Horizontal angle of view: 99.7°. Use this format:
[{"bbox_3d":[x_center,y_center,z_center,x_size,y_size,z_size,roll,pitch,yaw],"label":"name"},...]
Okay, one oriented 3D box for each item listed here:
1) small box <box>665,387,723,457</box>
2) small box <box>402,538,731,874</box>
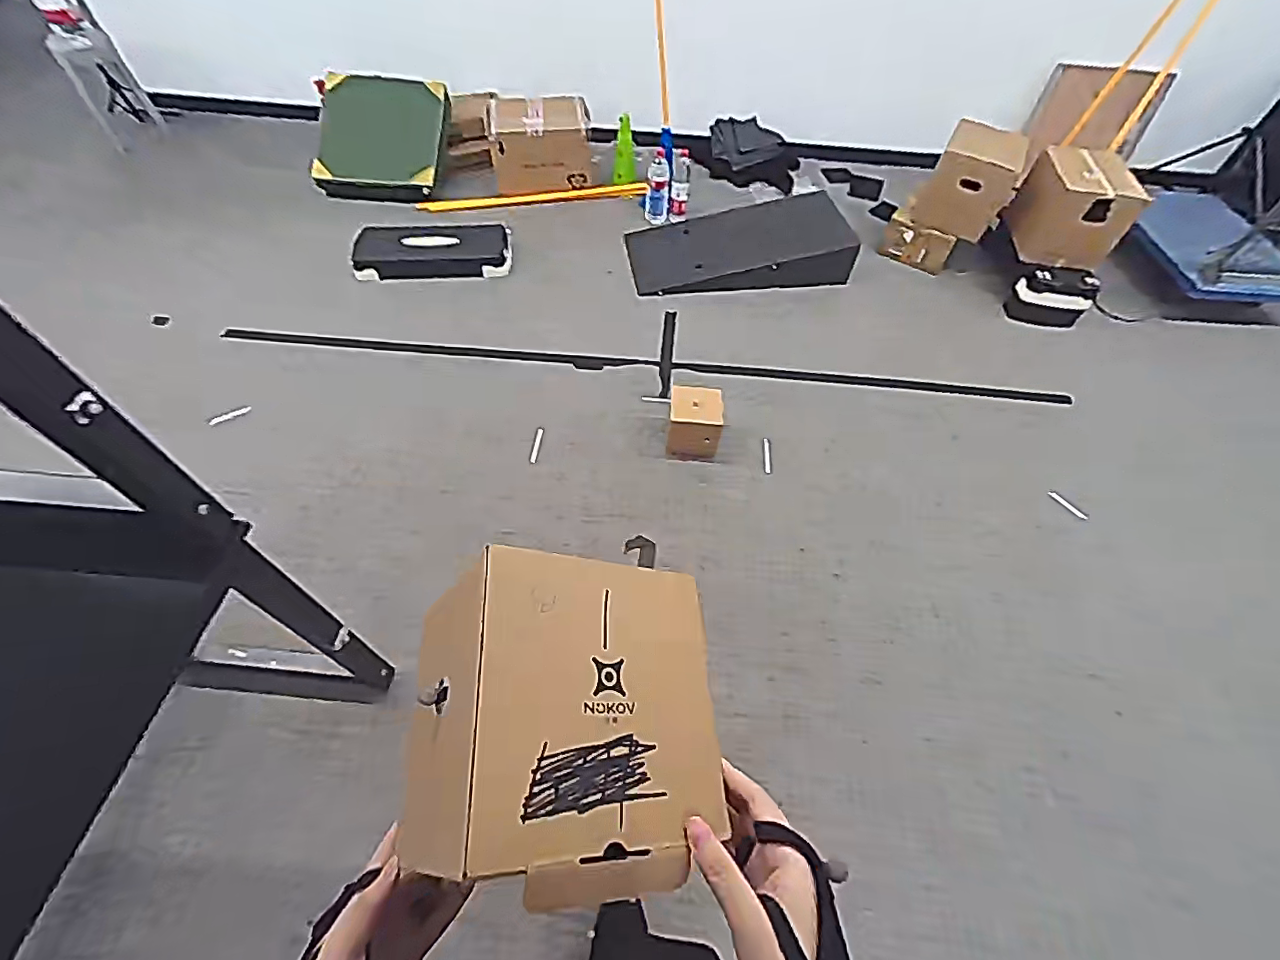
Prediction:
[{"bbox_3d":[0.182,-0.195,1.851,0.179,0.176,0.168,5,54,0],"label":"small box"},{"bbox_3d":[-0.061,0.167,0.390,0.168,0.176,0.179,15,52,-28],"label":"small box"}]
